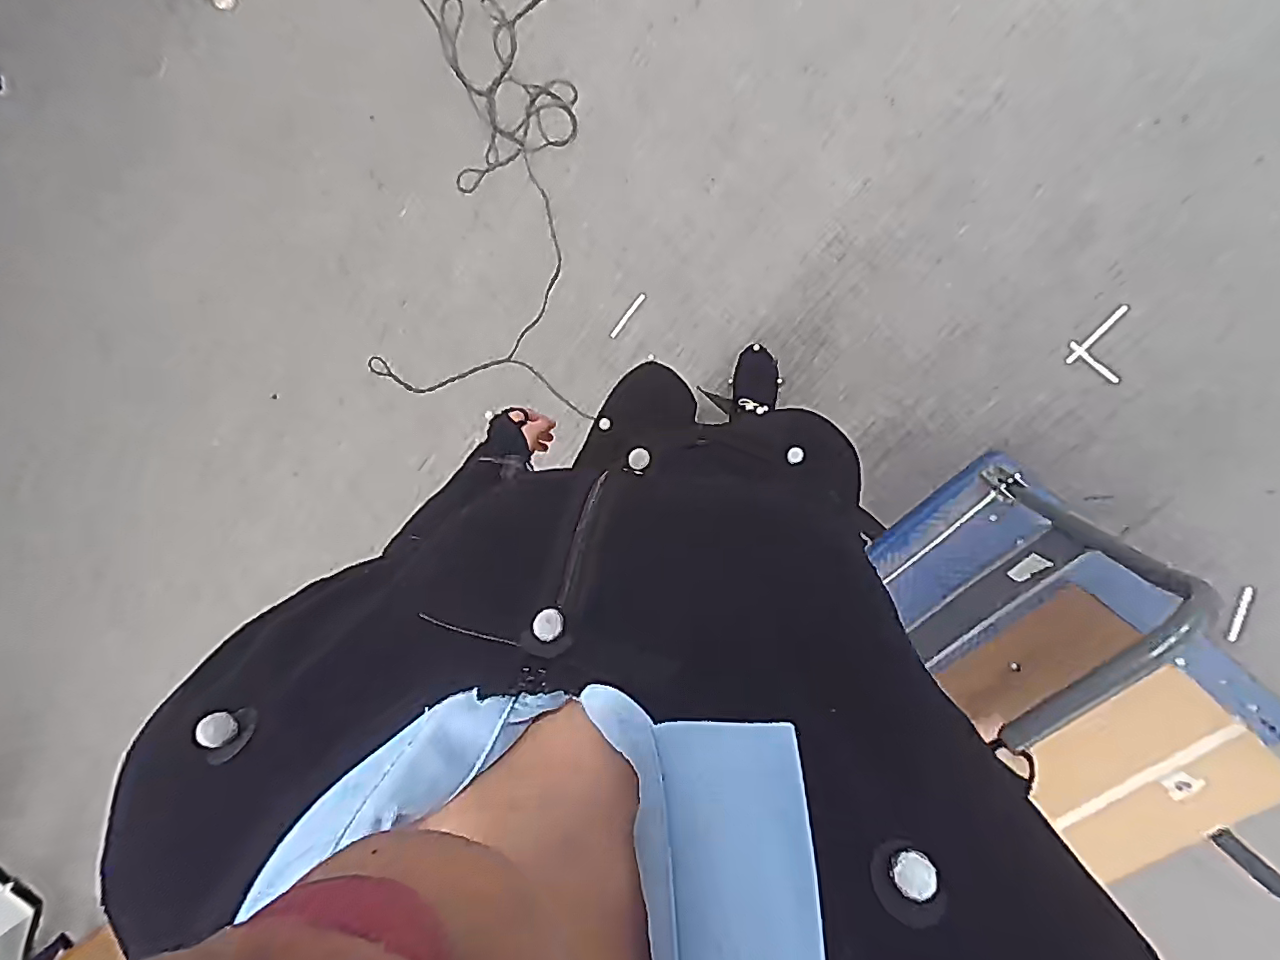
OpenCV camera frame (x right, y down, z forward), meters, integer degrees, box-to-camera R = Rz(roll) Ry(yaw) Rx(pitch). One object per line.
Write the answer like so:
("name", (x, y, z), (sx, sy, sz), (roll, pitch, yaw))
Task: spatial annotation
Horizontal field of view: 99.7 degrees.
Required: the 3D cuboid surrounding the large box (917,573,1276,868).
("large box", (0.873, 0.472, 1.117), (0.320, 0.320, 0.408), (43, 108, 0))
